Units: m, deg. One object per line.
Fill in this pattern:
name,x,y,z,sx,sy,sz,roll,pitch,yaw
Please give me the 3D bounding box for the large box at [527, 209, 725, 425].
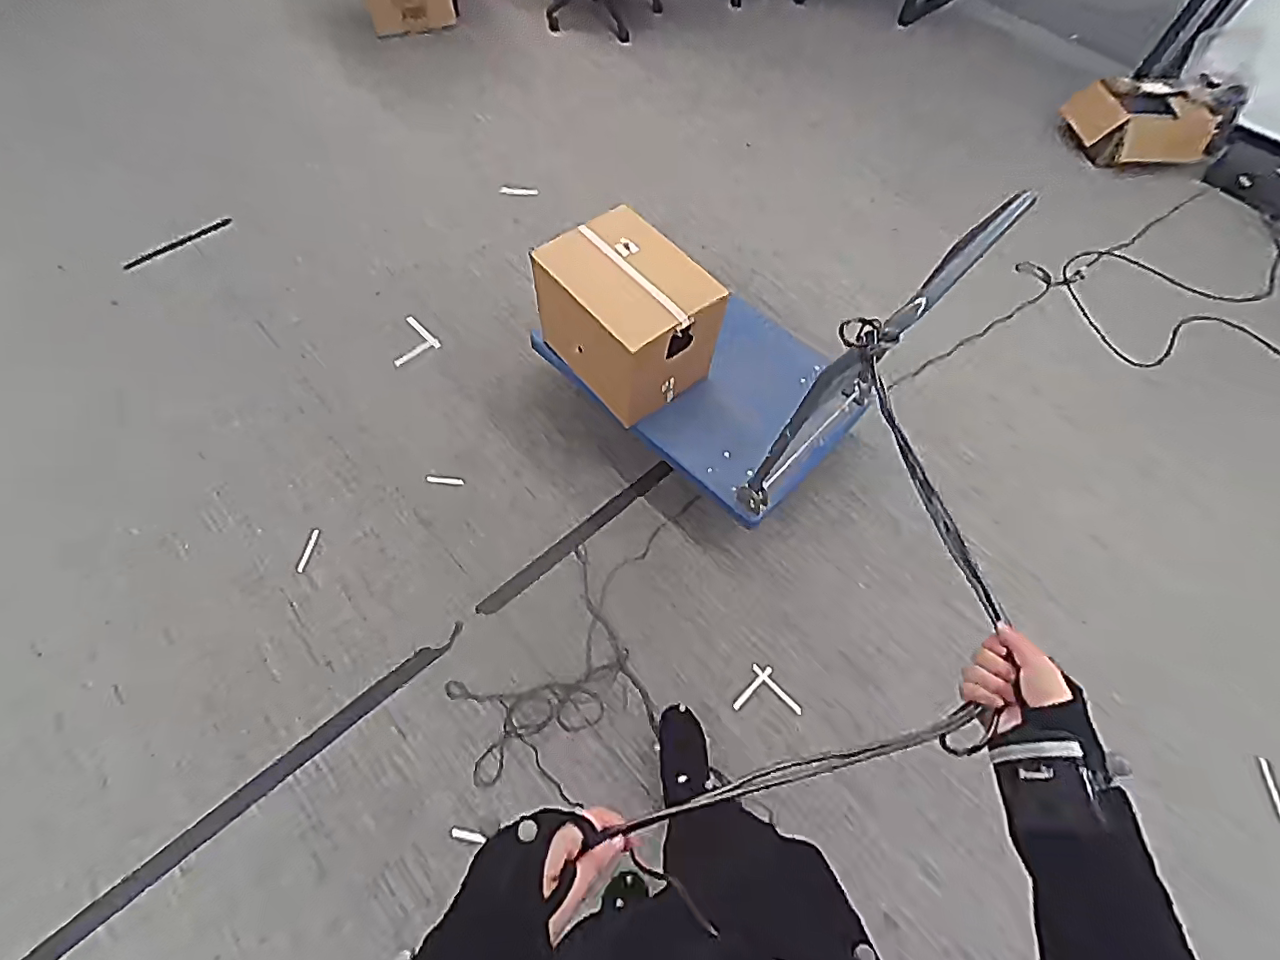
large box,-0.040,-0.426,1.438,0.320,0.320,0.408,-36,69,-21
